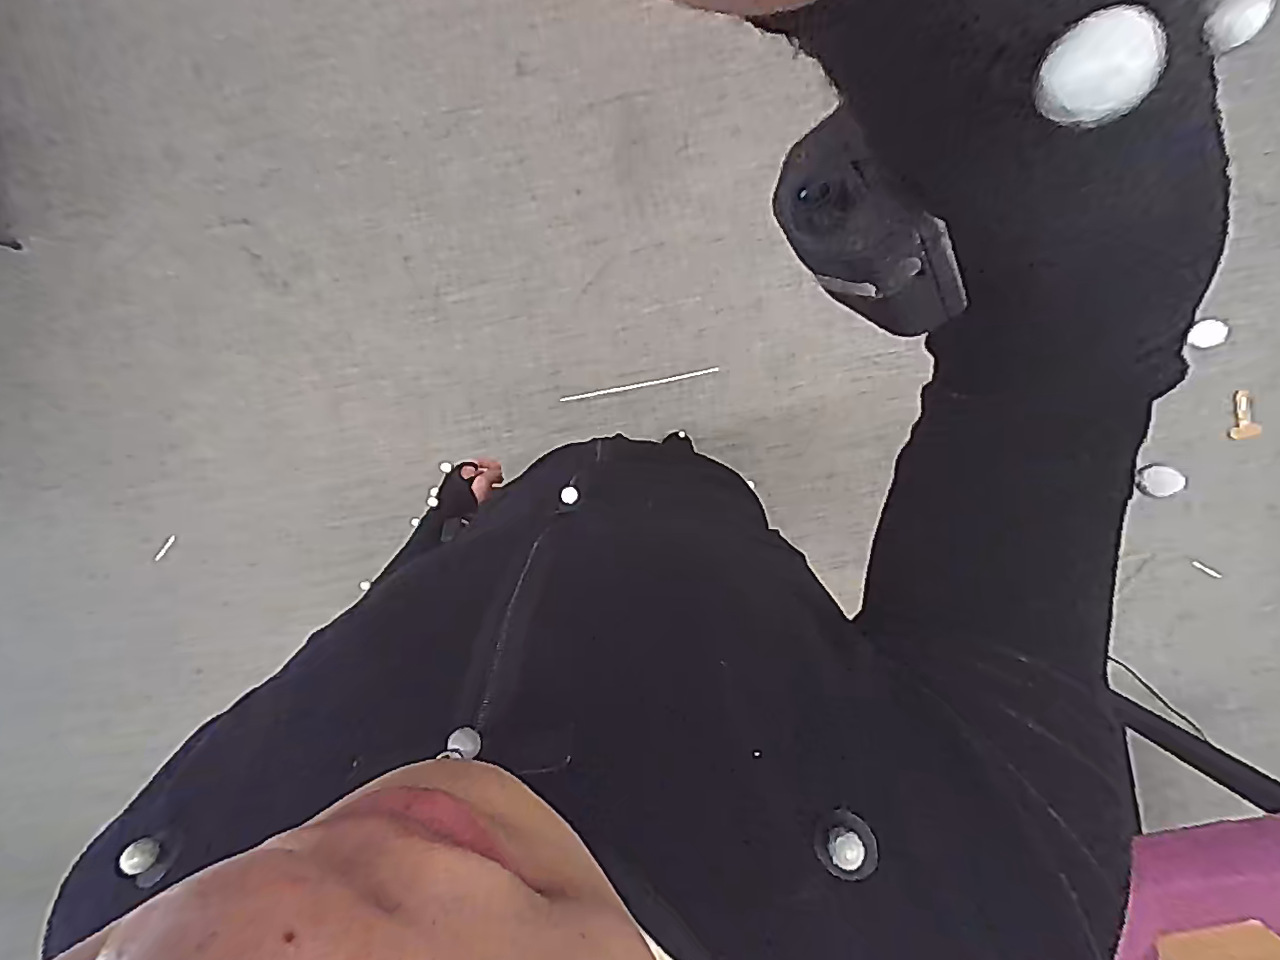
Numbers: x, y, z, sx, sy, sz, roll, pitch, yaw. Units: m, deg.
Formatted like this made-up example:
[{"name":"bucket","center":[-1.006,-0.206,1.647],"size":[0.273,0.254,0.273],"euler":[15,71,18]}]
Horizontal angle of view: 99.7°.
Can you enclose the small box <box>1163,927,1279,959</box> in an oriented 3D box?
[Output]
[{"name":"small box","center":[0.992,0.853,0.847],"size":[0.179,0.176,0.168],"euler":[-13,93,1]}]
